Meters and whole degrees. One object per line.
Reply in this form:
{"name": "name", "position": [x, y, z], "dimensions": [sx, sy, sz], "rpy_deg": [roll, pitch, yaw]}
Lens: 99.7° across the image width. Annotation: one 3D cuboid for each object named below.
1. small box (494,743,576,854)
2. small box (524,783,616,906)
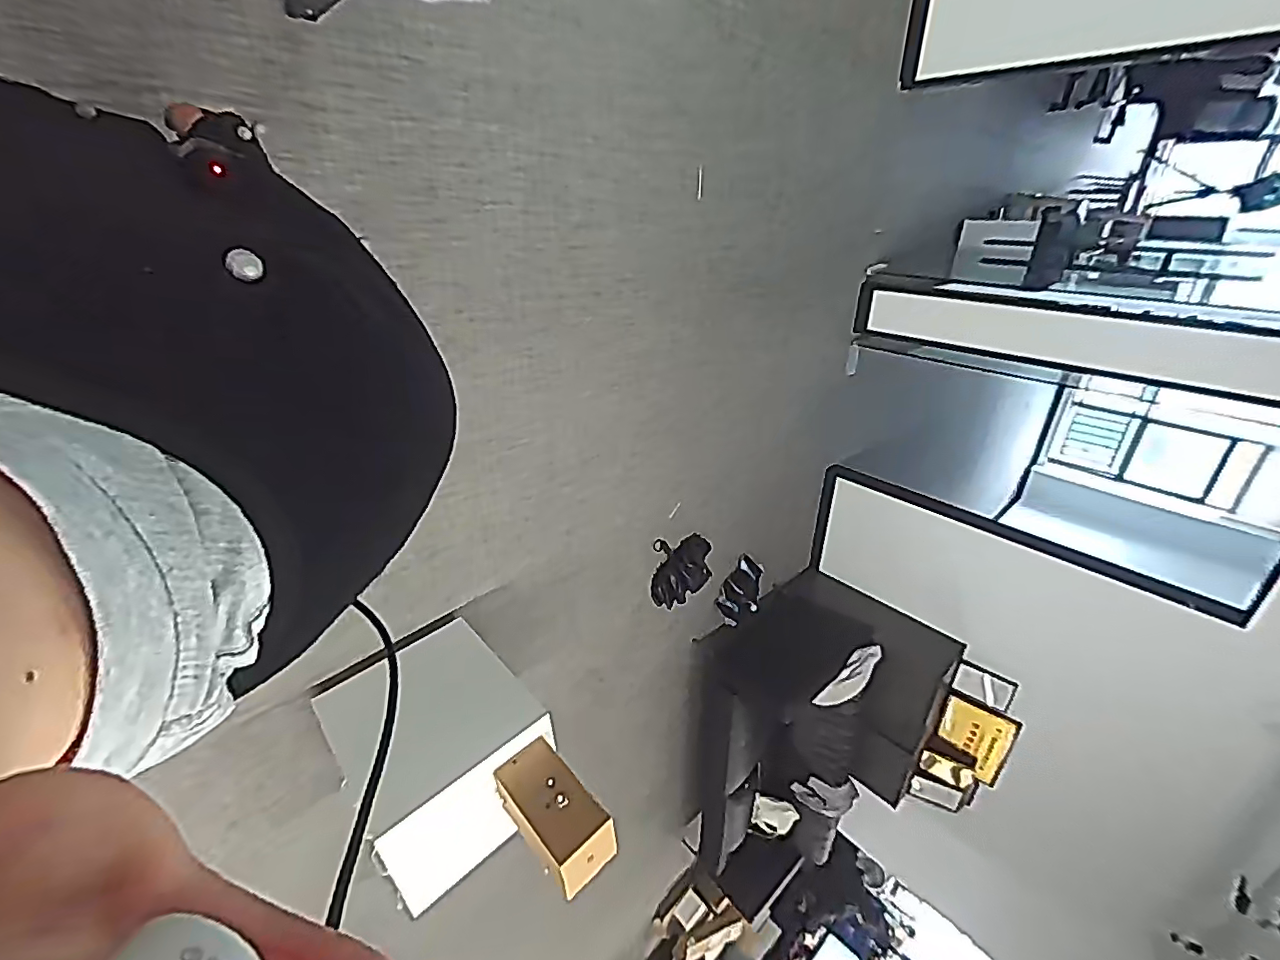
{"name": "small box", "position": [-0.290, 0.890, 1.523], "dimensions": [0.168, 0.176, 0.179], "rpy_deg": [-26, 129, -34]}
{"name": "small box", "position": [-0.182, 0.942, 1.413], "dimensions": [0.168, 0.176, 0.179], "rpy_deg": [-29, 128, -34]}
